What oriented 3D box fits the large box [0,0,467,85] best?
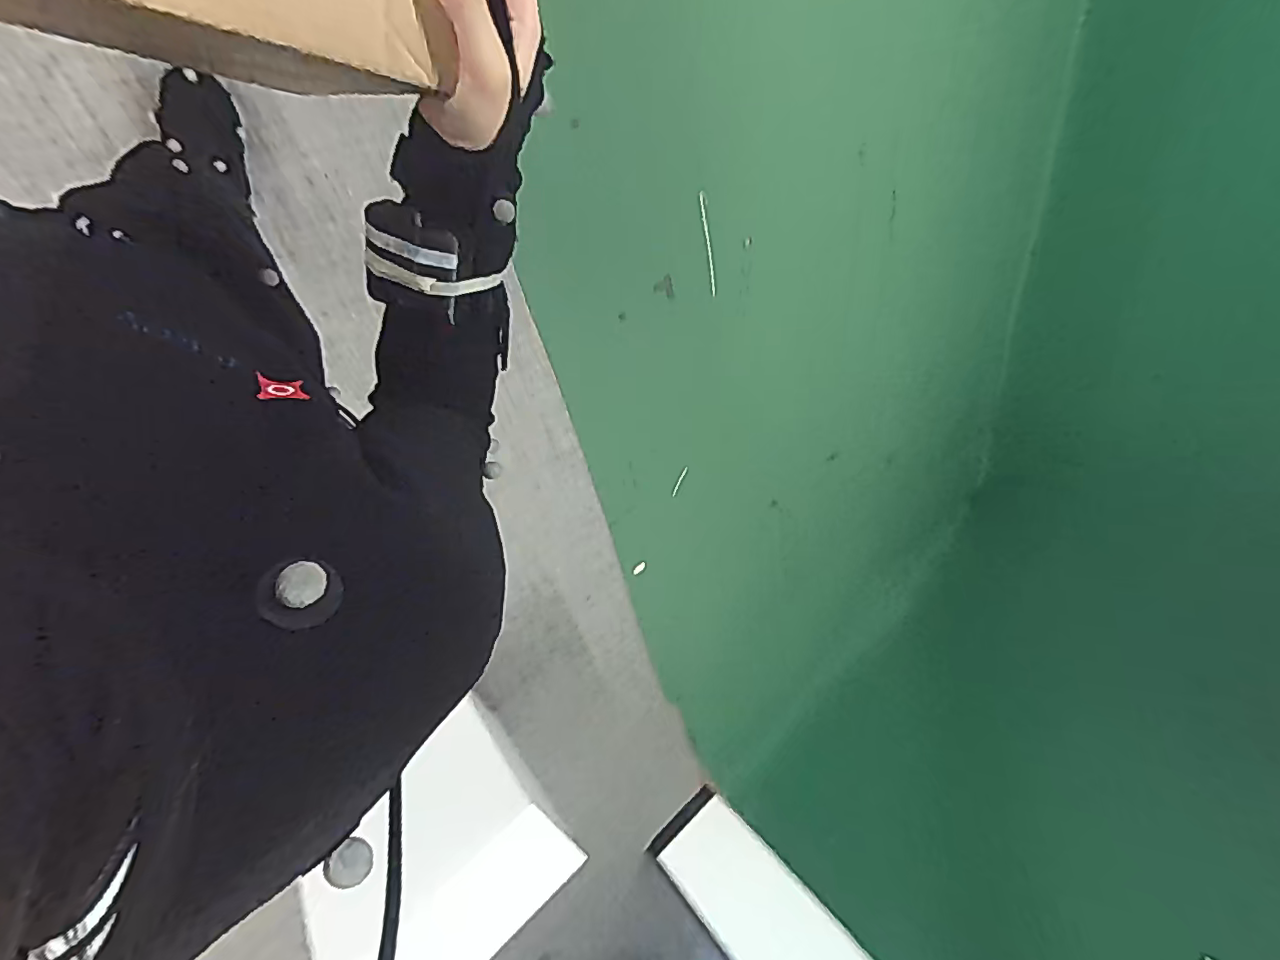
[{"bbox_3d":[-0.312,-0.372,0.183,0.408,0.320,0.320,-14,127,-41],"label":"large box"}]
